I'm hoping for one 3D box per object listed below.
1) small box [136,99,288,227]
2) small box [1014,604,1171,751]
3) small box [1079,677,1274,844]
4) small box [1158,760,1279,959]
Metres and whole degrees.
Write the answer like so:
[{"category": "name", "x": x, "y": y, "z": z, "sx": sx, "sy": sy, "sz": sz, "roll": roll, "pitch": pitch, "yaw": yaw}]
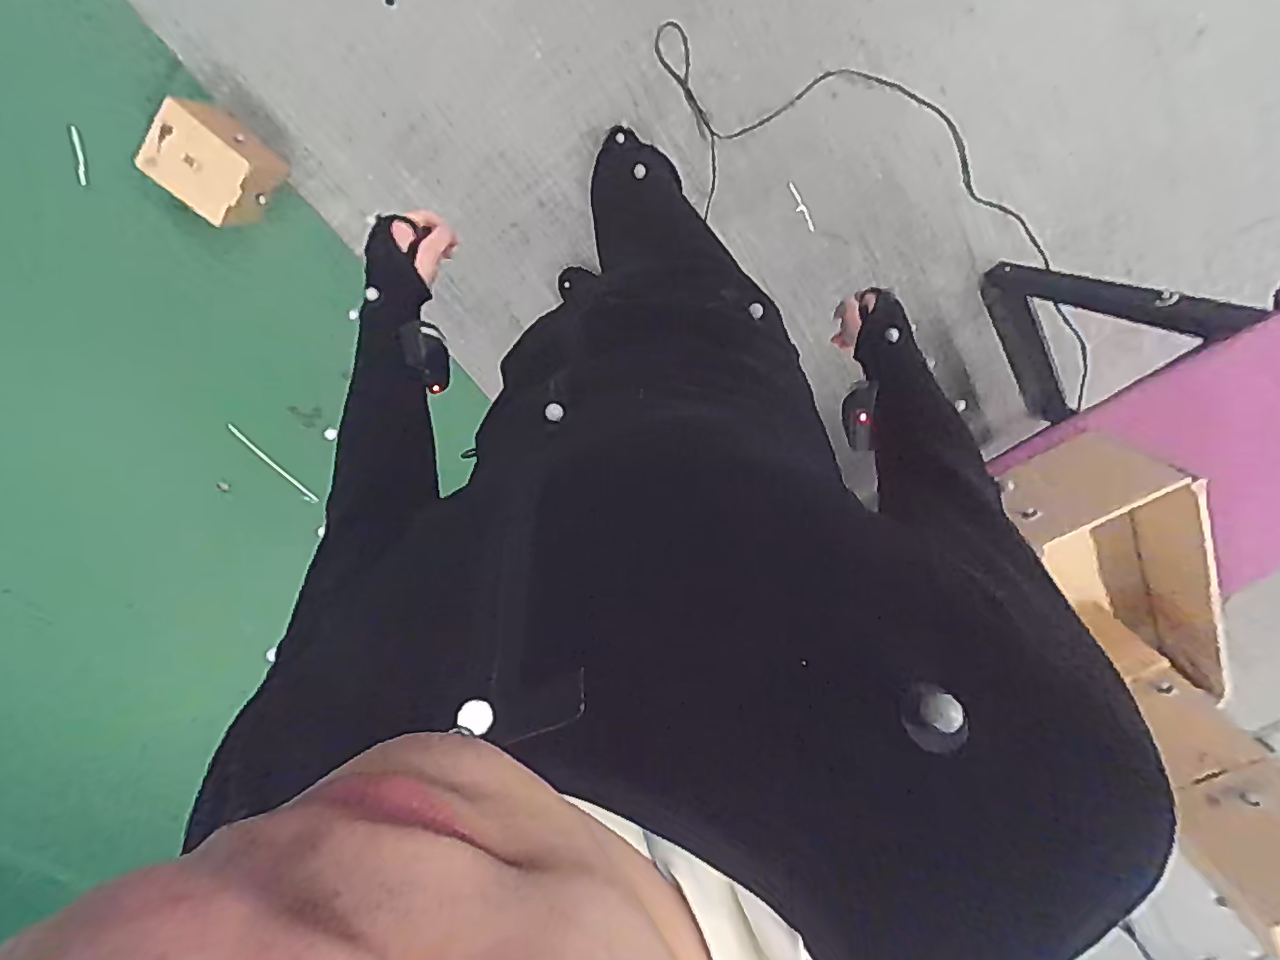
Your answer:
[{"category": "small box", "x": -0.929, "y": -0.694, "z": 1.192, "sx": 0.179, "sy": 0.176, "sz": 0.168, "roll": 40, "pitch": 109, "yaw": -23}, {"category": "small box", "x": 0.873, "y": 0.375, "z": 1.041, "sx": 0.168, "sy": 0.176, "sz": 0.179, "roll": -33, "pitch": 114, "yaw": 14}, {"category": "small box", "x": 0.885, "y": 0.457, "z": 0.900, "sx": 0.168, "sy": 0.176, "sz": 0.179, "roll": -34, "pitch": 115, "yaw": 14}, {"category": "small box", "x": 0.891, "y": 0.533, "z": 0.756, "sx": 0.168, "sy": 0.176, "sz": 0.179, "roll": -34, "pitch": 114, "yaw": 14}]
